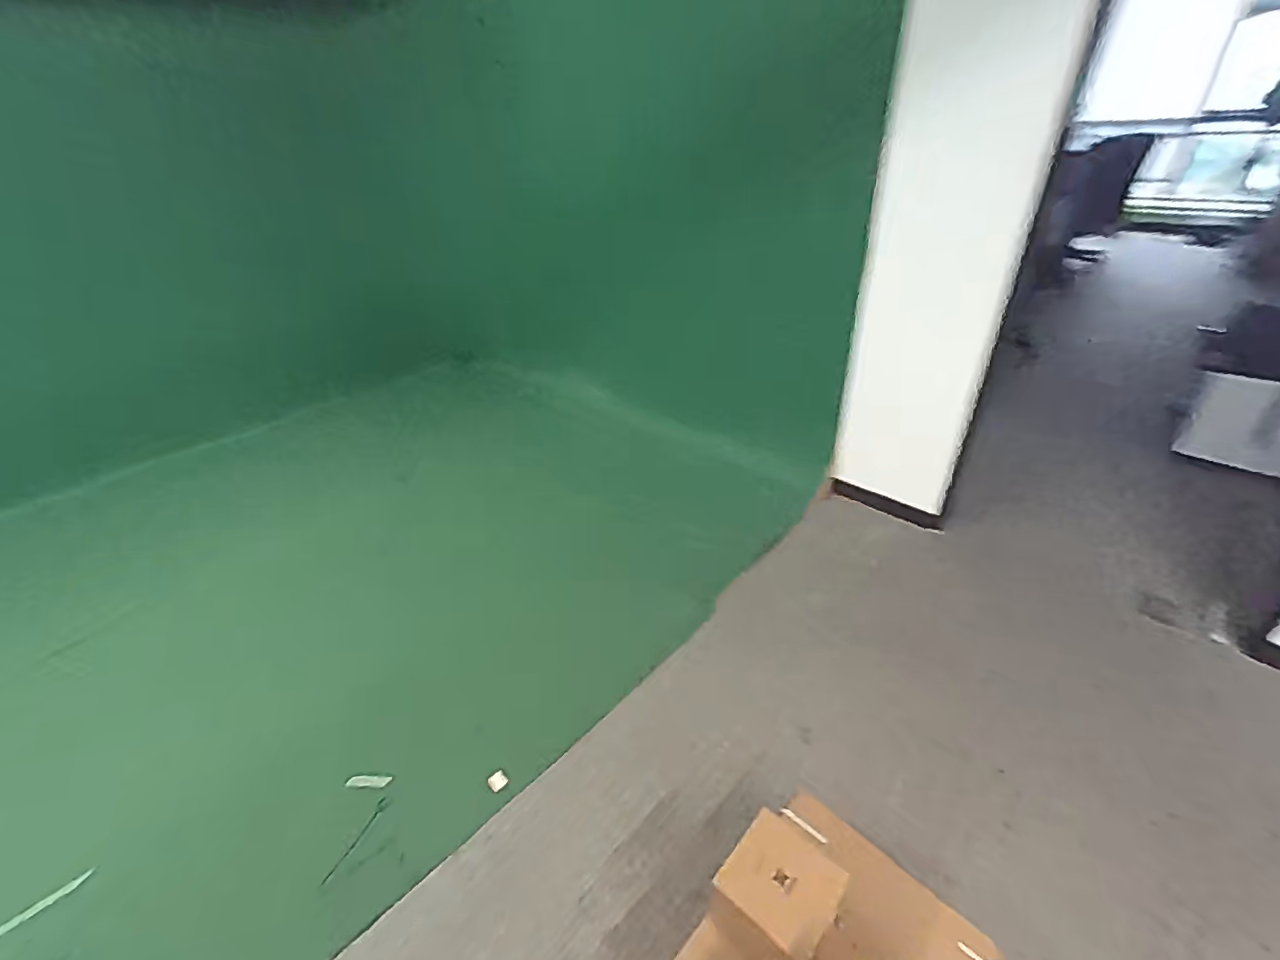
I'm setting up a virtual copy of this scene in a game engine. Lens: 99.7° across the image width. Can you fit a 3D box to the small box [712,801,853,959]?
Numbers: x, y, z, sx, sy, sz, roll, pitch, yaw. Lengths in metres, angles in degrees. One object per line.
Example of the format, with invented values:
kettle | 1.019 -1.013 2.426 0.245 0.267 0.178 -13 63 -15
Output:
small box | 0.244 0.726 0.950 0.179 0.176 0.168 25 42 37
